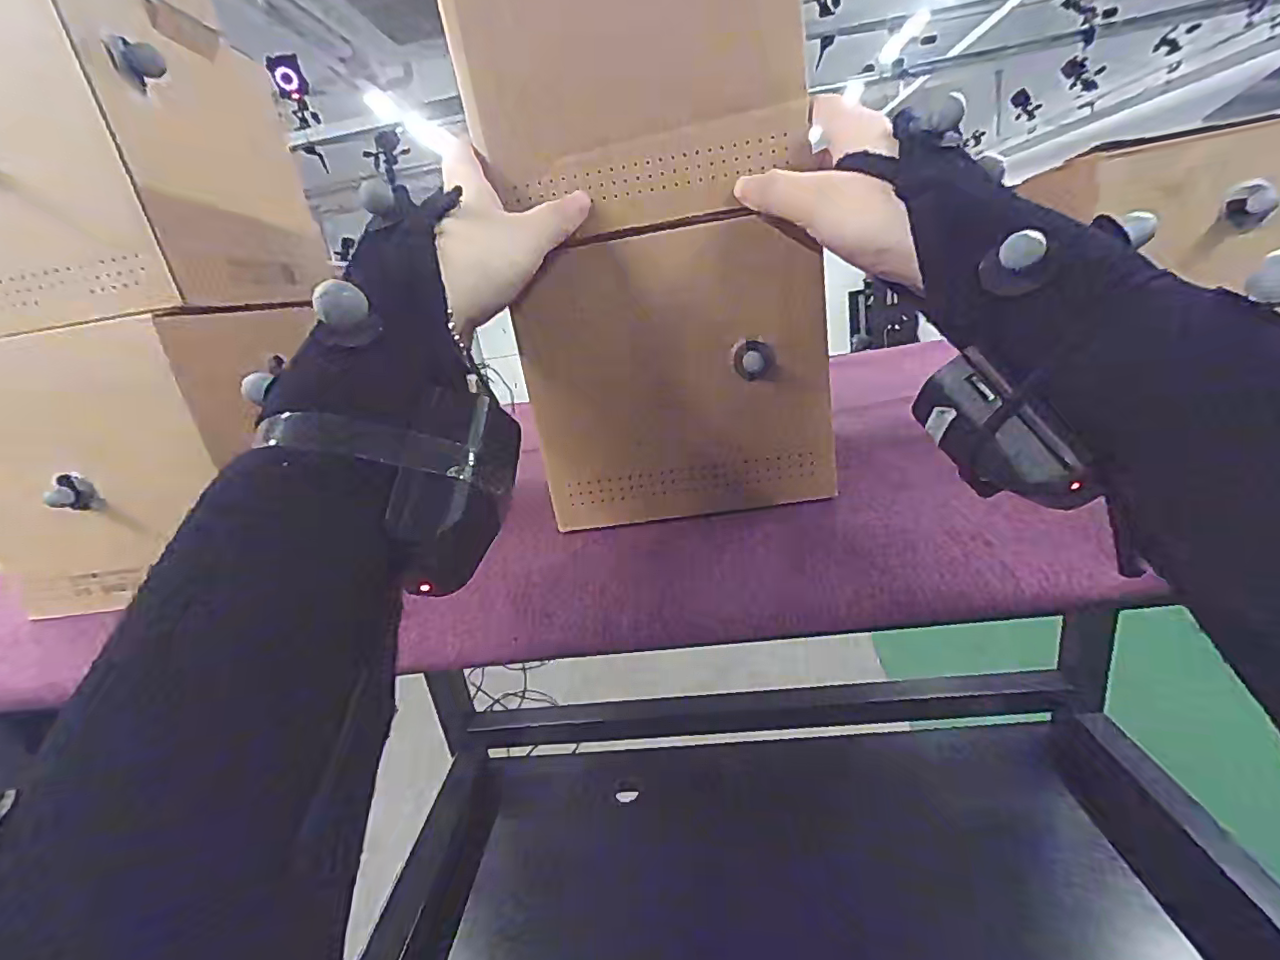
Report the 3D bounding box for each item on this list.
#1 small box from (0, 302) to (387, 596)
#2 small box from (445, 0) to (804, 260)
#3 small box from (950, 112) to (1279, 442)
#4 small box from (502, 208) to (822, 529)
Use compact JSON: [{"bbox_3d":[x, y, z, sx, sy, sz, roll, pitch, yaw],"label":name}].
[{"bbox_3d":[-0.315,-0.027,0.394,0.168,0.176,0.179,-7,19,4],"label":"small box"},{"bbox_3d":[-0.007,-0.232,0.345,0.179,0.176,0.168,-8,16,3],"label":"small box"},{"bbox_3d":[0.343,-0.128,0.375,0.179,0.176,0.168,-7,16,8],"label":"small box"},{"bbox_3d":[0.025,-0.077,0.390,0.179,0.176,0.168,-9,16,5],"label":"small box"}]
